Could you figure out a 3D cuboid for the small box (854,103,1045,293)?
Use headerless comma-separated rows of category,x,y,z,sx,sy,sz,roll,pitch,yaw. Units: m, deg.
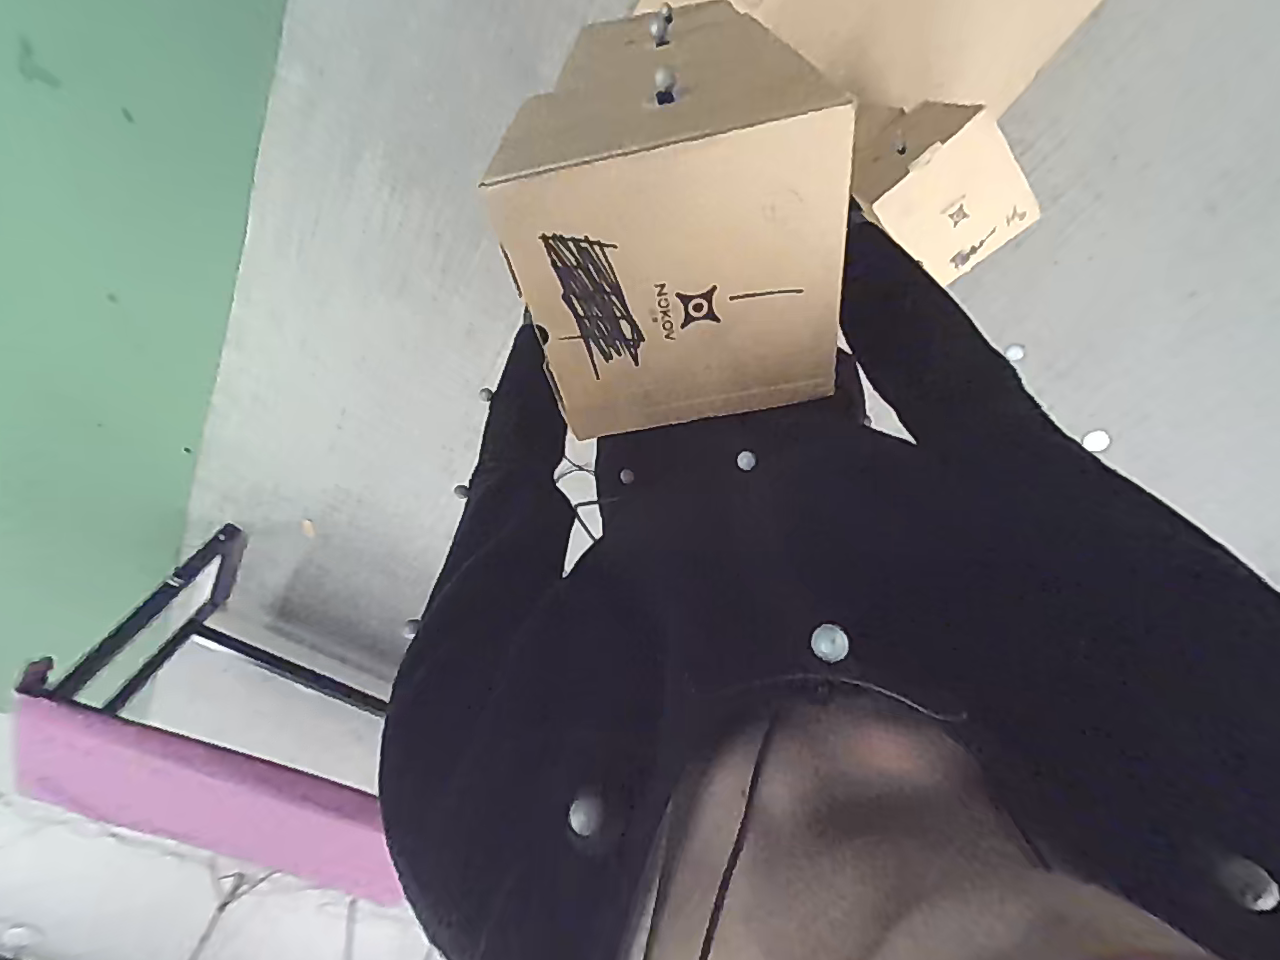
small box,0.441,-0.416,0.803,0.168,0.176,0.179,-36,115,26

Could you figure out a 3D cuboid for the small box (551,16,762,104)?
small box,0.032,-0.265,0.470,0.168,0.176,0.179,-9,136,7

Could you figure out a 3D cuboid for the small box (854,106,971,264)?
small box,0.468,-0.512,0.933,0.179,0.176,0.168,-28,119,22

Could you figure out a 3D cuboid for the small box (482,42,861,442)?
small box,0.024,-0.151,0.351,0.179,0.176,0.168,-10,136,8

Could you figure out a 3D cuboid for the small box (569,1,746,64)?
small box,0.028,-0.381,0.587,0.168,0.176,0.179,-7,136,6
